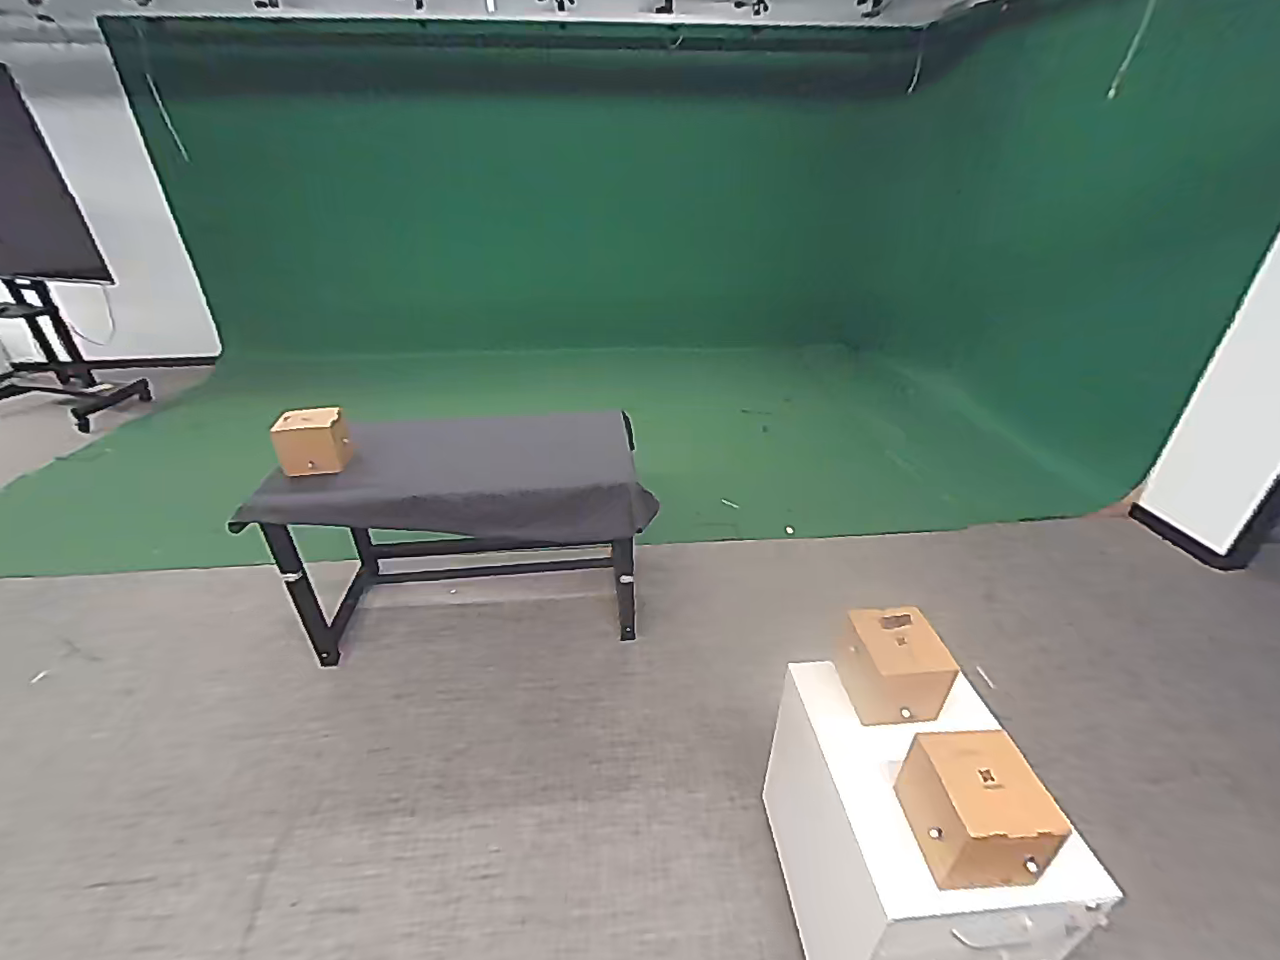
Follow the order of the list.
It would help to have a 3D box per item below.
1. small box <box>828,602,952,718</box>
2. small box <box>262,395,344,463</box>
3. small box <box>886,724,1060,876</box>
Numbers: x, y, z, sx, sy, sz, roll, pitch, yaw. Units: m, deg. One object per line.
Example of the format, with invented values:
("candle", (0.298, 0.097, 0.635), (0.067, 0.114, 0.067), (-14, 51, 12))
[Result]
("small box", (0.532, 0.391, 1.182), (0.168, 0.176, 0.179), (-2, 34, -5))
("small box", (-1.105, -0.169, 1.791), (0.179, 0.176, 0.168), (-5, 31, -13))
("small box", (0.554, 0.550, 0.929), (0.168, 0.176, 0.179), (0, 30, -4))
